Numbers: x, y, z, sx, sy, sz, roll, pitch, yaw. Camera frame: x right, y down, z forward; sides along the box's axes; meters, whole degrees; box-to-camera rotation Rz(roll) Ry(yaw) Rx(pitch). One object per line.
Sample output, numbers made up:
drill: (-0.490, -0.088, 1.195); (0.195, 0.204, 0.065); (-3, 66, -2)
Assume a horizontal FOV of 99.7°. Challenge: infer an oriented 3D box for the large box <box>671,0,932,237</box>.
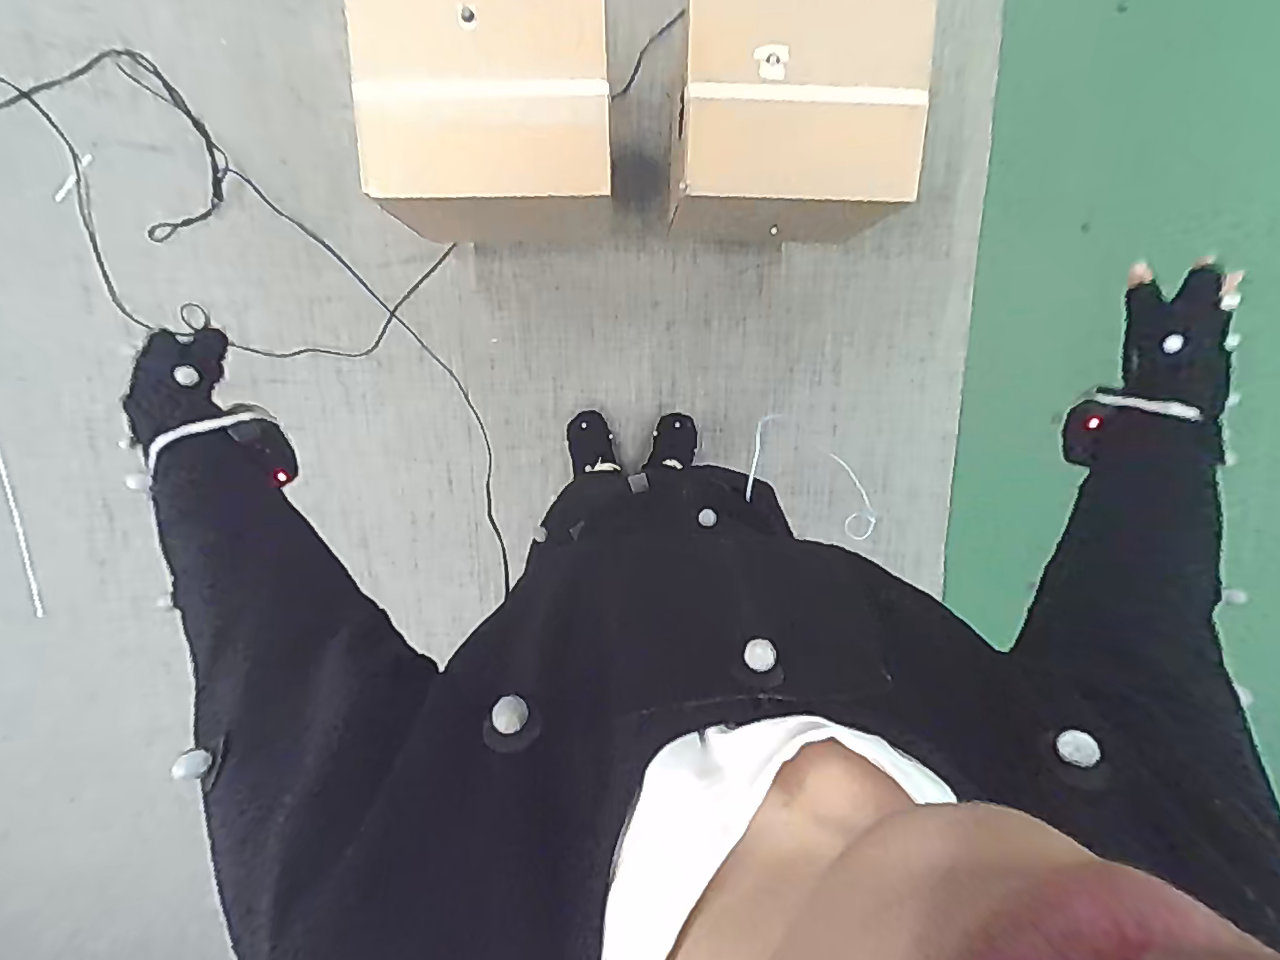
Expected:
large box: (0.276, -0.671, 1.052); (0.408, 0.320, 0.320); (1, 101, -2)
